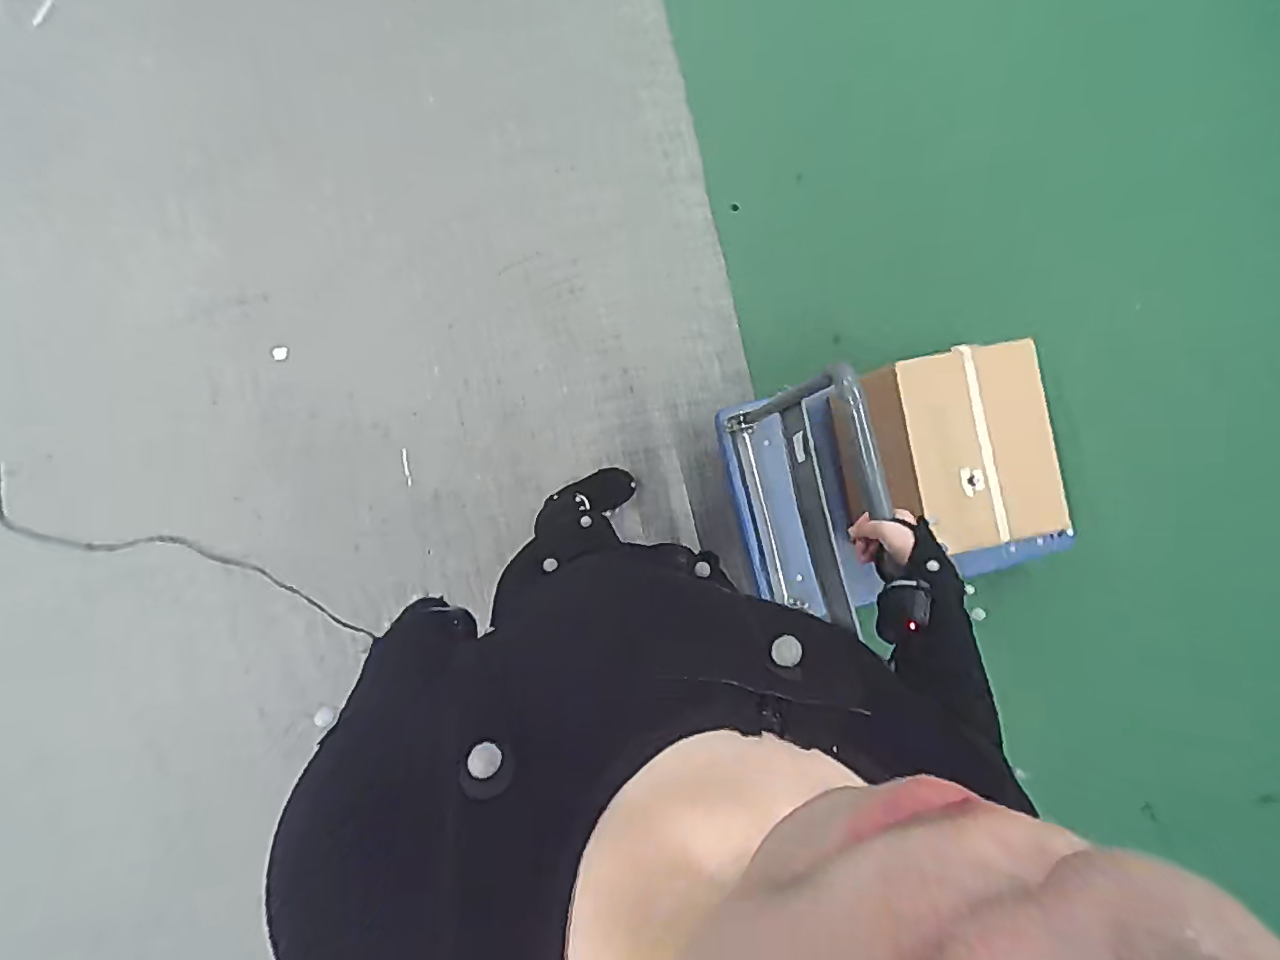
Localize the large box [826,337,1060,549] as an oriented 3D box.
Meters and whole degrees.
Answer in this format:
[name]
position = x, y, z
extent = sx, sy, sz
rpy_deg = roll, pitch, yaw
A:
[large box]
position = 0.678, -0.077, 1.264
extent = 0.320, 0.320, 0.408
rpy_deg = -10, 89, -5
